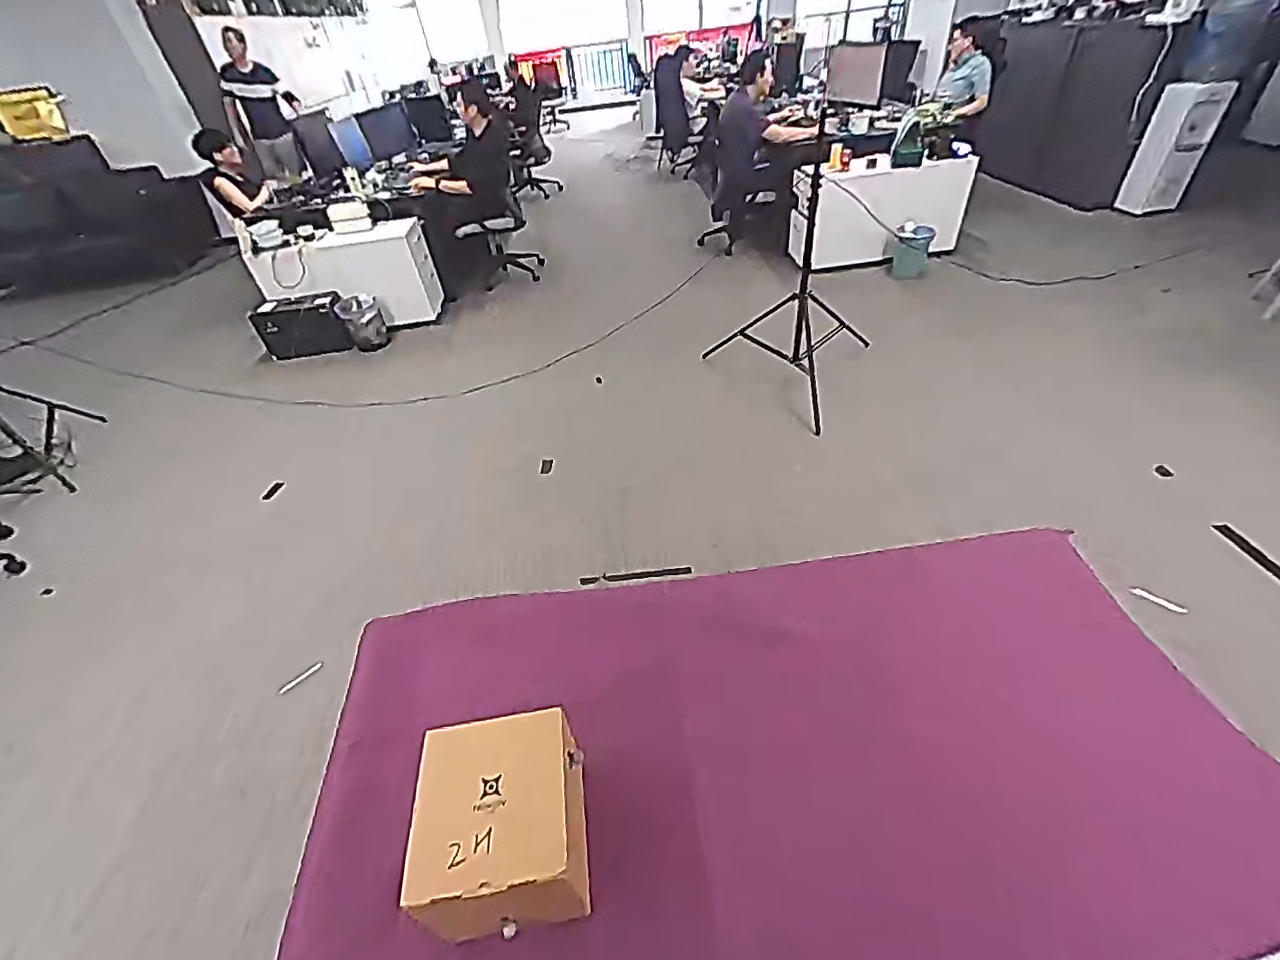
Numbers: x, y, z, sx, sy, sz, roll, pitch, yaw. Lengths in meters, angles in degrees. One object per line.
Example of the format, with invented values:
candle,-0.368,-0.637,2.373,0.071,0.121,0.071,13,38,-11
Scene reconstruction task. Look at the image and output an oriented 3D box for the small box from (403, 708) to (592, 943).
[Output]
small box,-0.152,0.401,0.633,0.168,0.176,0.179,-9,41,-3
